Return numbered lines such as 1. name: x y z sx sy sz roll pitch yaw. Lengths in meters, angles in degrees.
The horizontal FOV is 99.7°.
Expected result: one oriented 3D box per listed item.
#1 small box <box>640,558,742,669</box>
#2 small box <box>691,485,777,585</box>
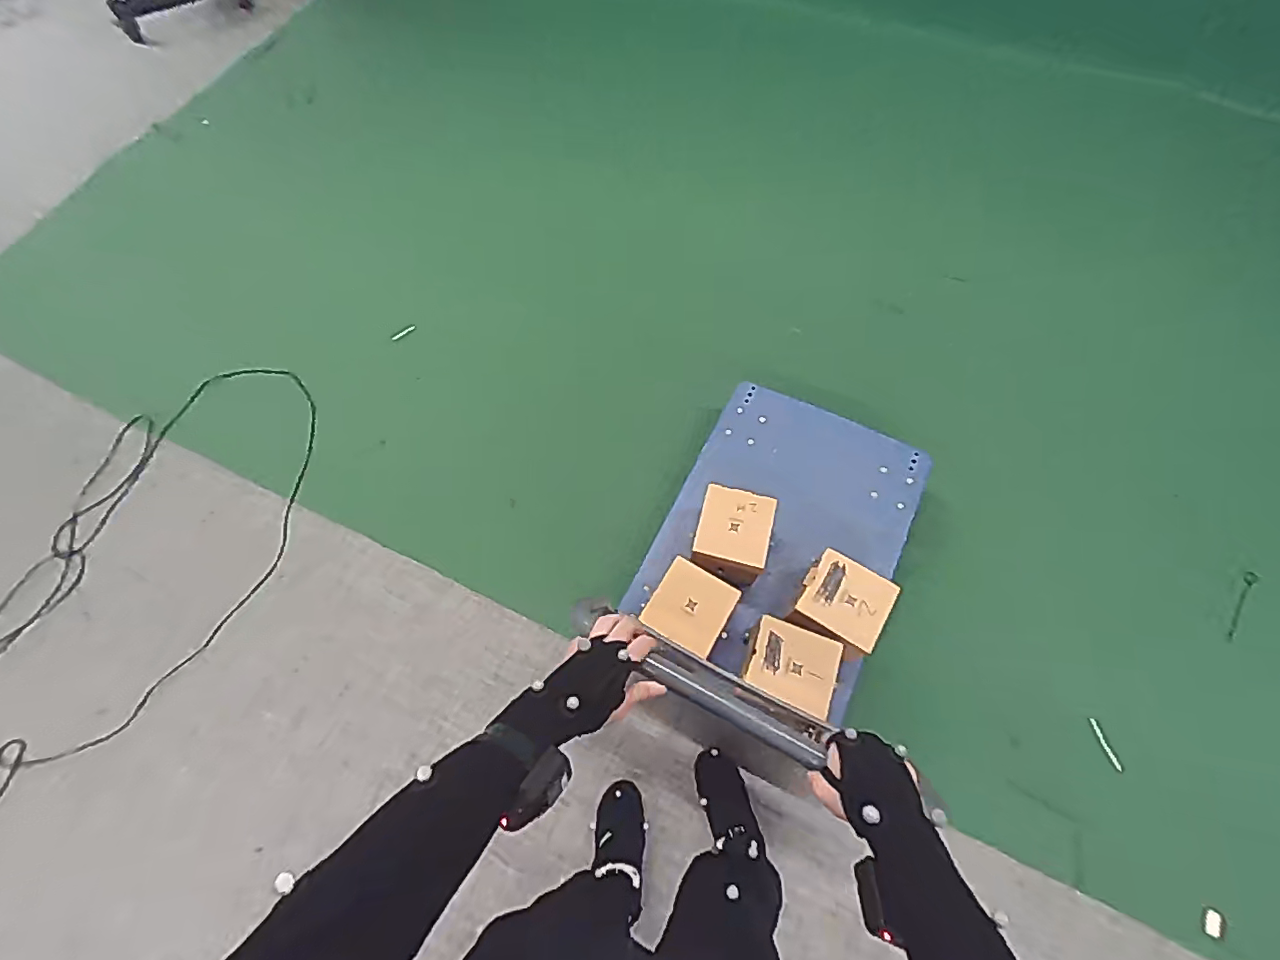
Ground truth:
1. small box: 0.112 0.310 1.240 0.168 0.176 0.179 30 71 14
2. small box: 0.222 0.140 1.310 0.168 0.176 0.179 15 67 8
